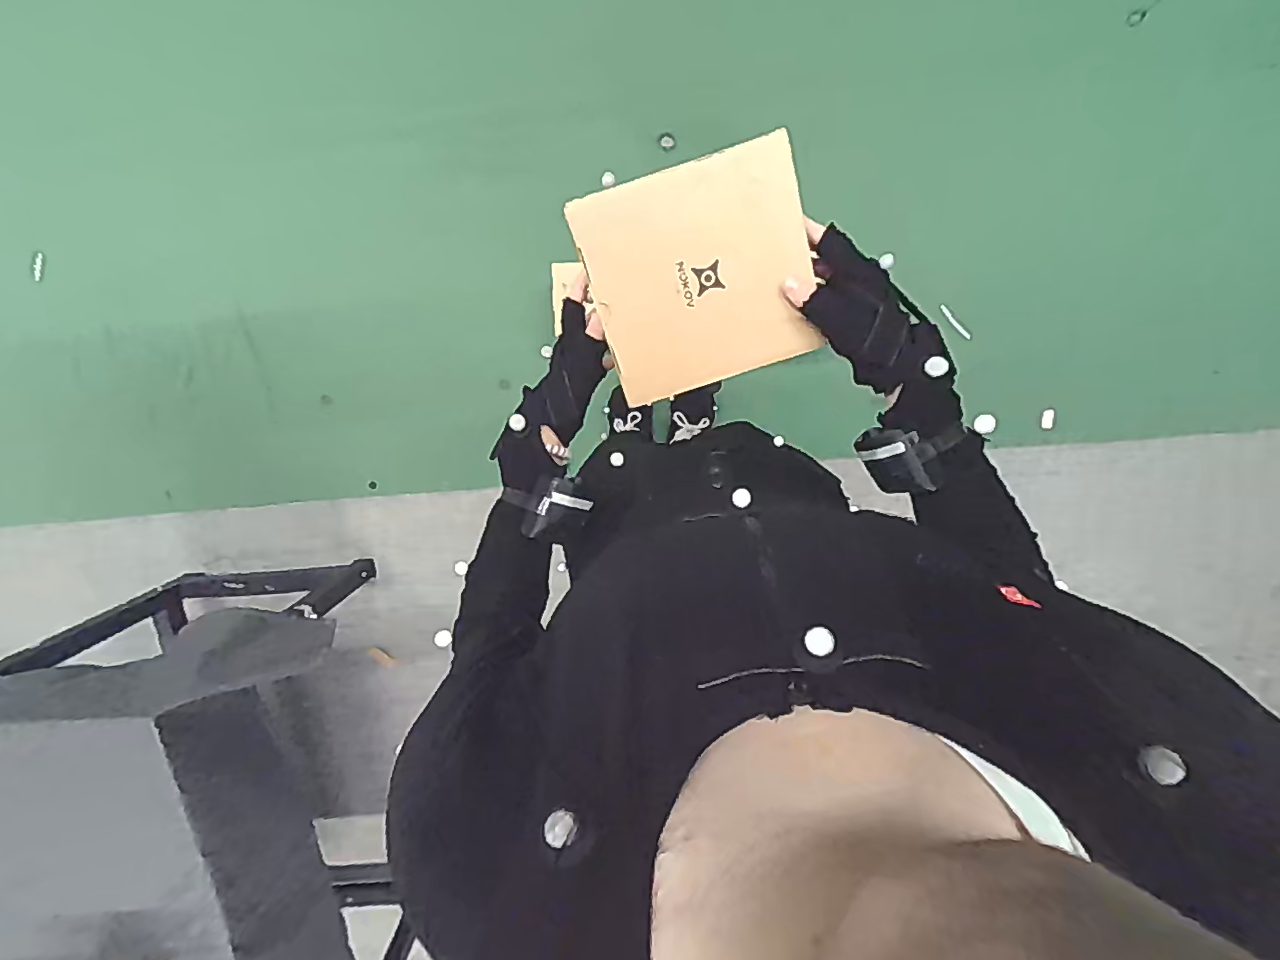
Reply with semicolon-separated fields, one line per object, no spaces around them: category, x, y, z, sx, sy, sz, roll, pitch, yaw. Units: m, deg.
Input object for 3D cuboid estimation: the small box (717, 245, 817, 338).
small box;0.268;-0.399;1.165;0.179;0.176;0.168;-4;102;1
